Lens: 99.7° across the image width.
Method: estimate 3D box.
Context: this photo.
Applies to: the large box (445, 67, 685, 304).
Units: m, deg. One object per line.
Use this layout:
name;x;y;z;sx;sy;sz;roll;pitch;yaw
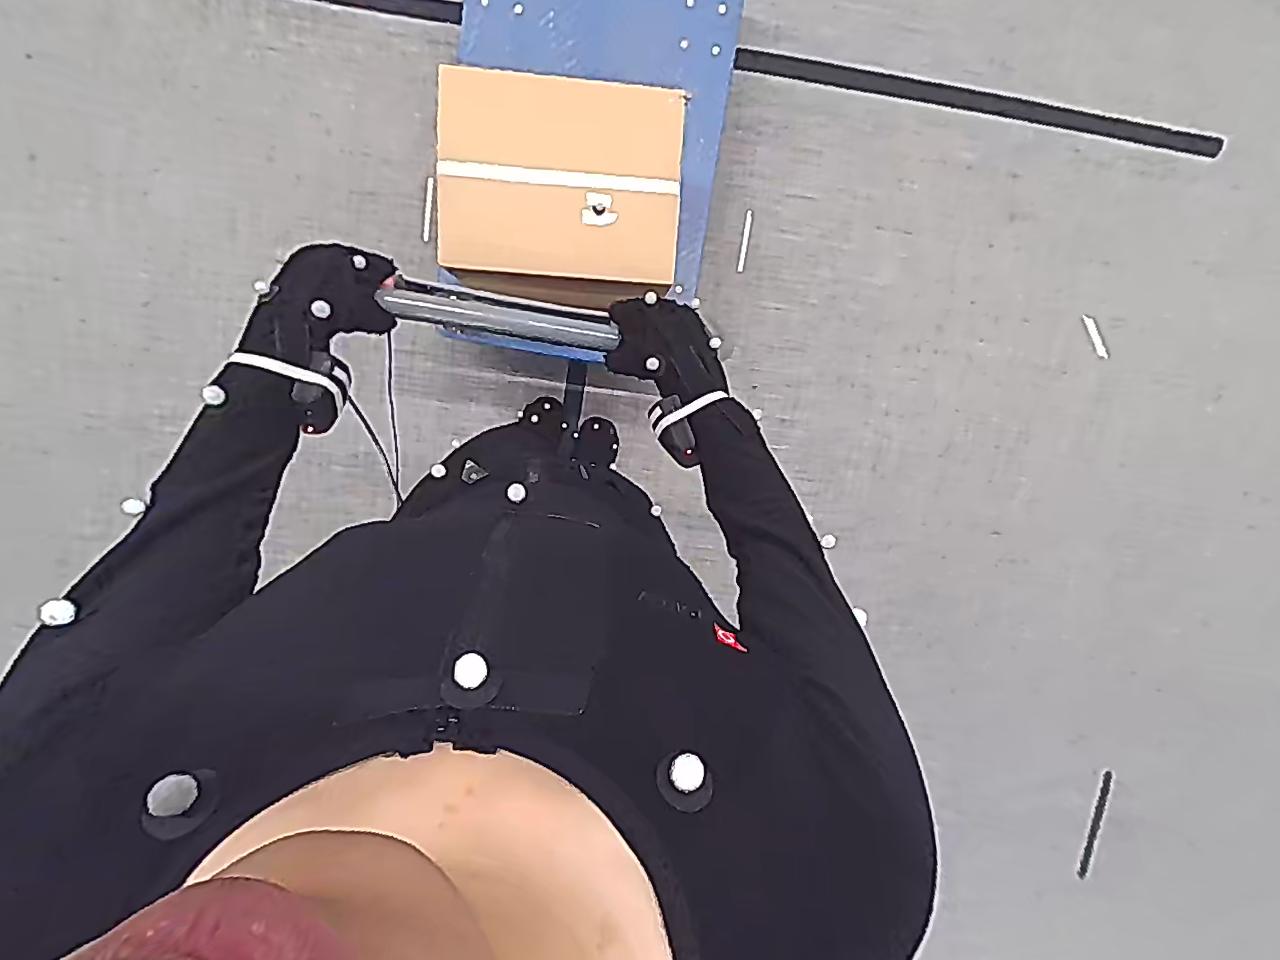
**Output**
large box;-0.142;-0.540;1.067;0.408;0.320;0.320;2;99;-5
